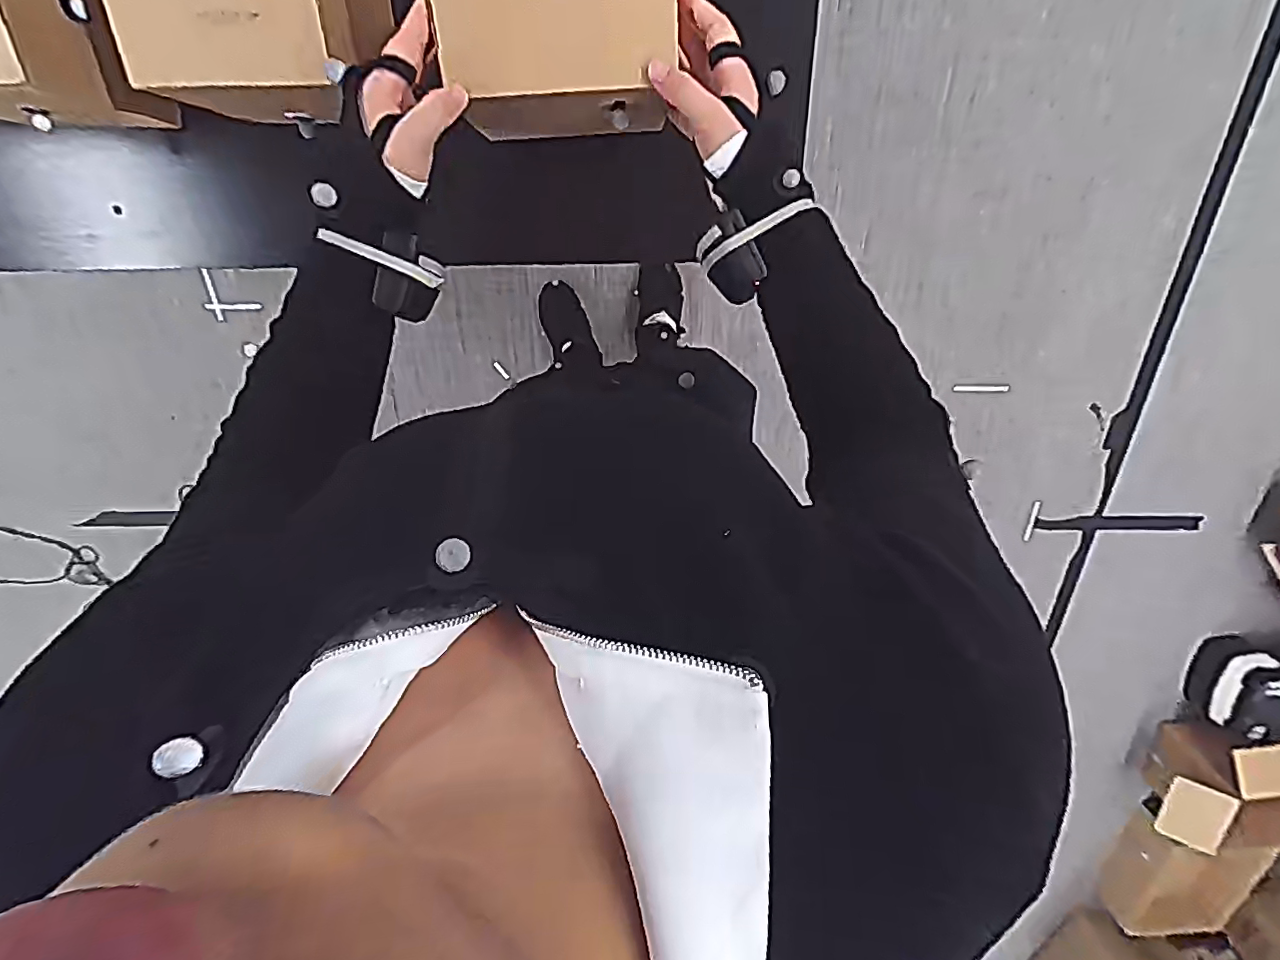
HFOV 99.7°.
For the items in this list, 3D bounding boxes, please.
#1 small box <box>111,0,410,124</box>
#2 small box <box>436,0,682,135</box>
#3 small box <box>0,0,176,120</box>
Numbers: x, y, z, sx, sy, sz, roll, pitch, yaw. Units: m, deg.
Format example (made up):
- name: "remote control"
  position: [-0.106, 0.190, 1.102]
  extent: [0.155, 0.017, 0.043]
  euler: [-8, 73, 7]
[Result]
- name: "small box"
  position: [-0.325, -0.432, 0.475]
  extent: [0.168, 0.176, 0.179]
  euler: [-1, 115, 0]
- name: "small box"
  position: [-0.063, -0.397, 0.445]
  extent: [0.179, 0.176, 0.168]
  euler: [-3, 113, -1]
- name: "small box"
  position: [-0.563, -0.427, 0.468]
  extent: [0.168, 0.176, 0.179]
  euler: [-1, 115, -3]
